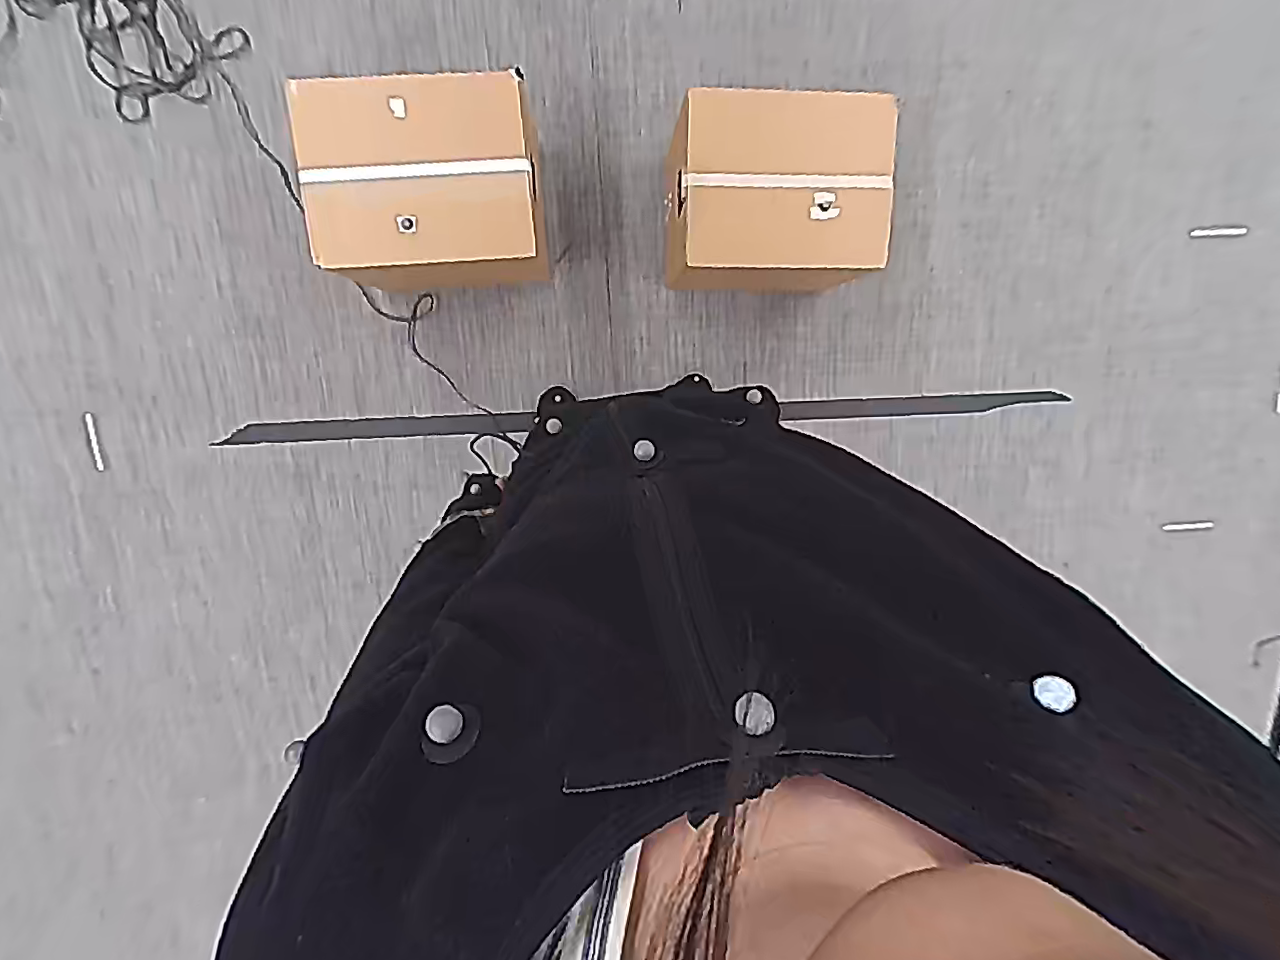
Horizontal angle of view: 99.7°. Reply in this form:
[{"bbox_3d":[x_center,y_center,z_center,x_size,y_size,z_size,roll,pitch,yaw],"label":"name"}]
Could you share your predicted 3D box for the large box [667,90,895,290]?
[{"bbox_3d":[0.277,-0.602,1.186,0.408,0.320,0.320,-1,102,-5],"label":"large box"}]
